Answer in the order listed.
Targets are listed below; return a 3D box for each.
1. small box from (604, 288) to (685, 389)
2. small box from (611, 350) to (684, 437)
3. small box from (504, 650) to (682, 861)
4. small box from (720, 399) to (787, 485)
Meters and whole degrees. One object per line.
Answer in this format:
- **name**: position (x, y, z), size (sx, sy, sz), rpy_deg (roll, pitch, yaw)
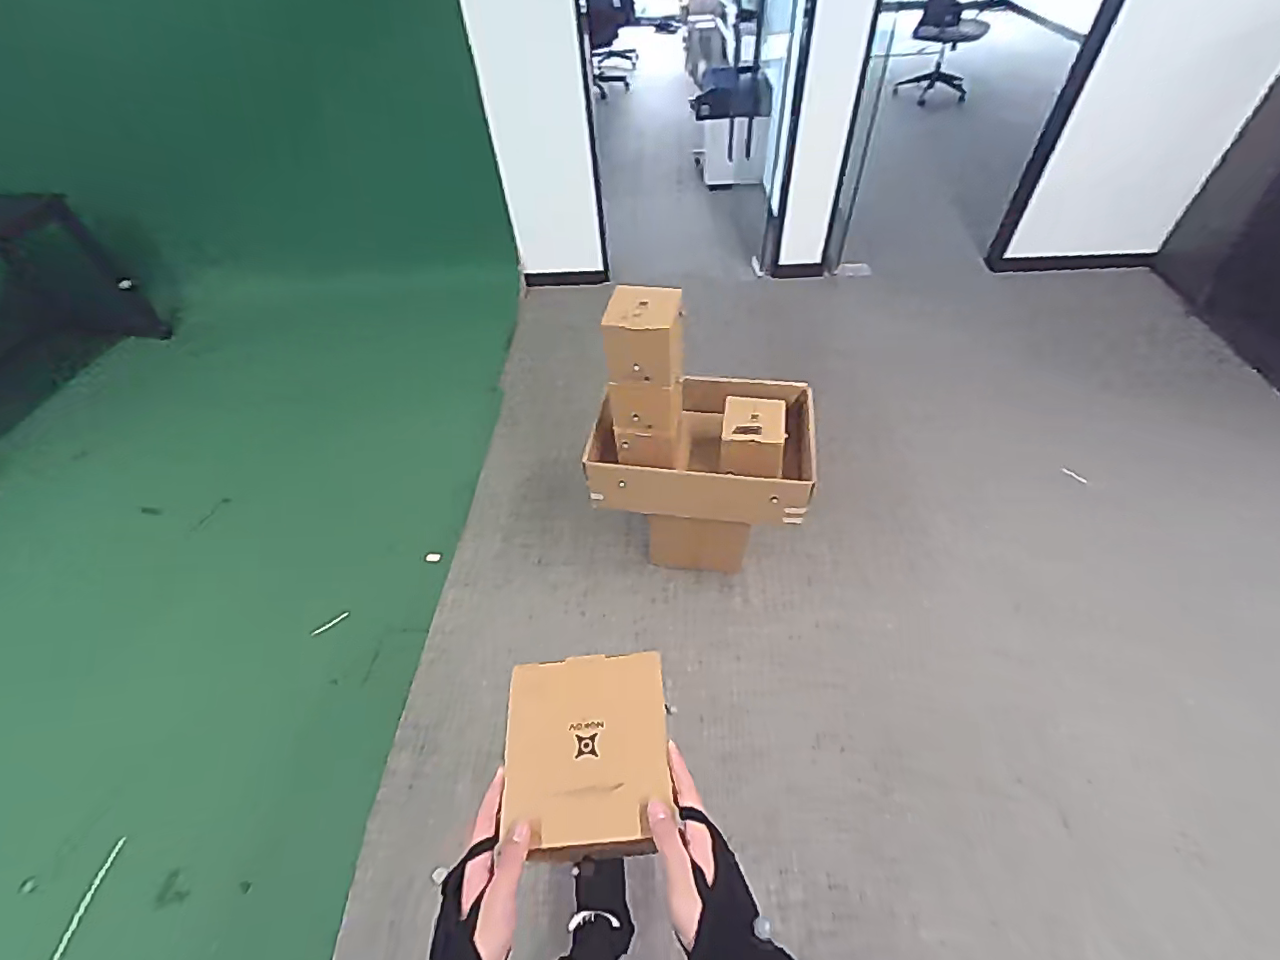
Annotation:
- **small box**: position (0.015, -0.352, 1.341), size (0.168, 0.176, 0.179), rpy_deg (7, 50, 11)
- **small box**: position (0.024, -0.241, 1.463), size (0.168, 0.176, 0.179), rpy_deg (7, 50, 9)
- **small box**: position (-0.043, 0.311, 0.608), size (0.168, 0.176, 0.179), rpy_deg (-5, 51, 1)
- **small box**: position (0.321, -0.107, 1.539), size (0.168, 0.176, 0.179), rpy_deg (7, 50, 9)
